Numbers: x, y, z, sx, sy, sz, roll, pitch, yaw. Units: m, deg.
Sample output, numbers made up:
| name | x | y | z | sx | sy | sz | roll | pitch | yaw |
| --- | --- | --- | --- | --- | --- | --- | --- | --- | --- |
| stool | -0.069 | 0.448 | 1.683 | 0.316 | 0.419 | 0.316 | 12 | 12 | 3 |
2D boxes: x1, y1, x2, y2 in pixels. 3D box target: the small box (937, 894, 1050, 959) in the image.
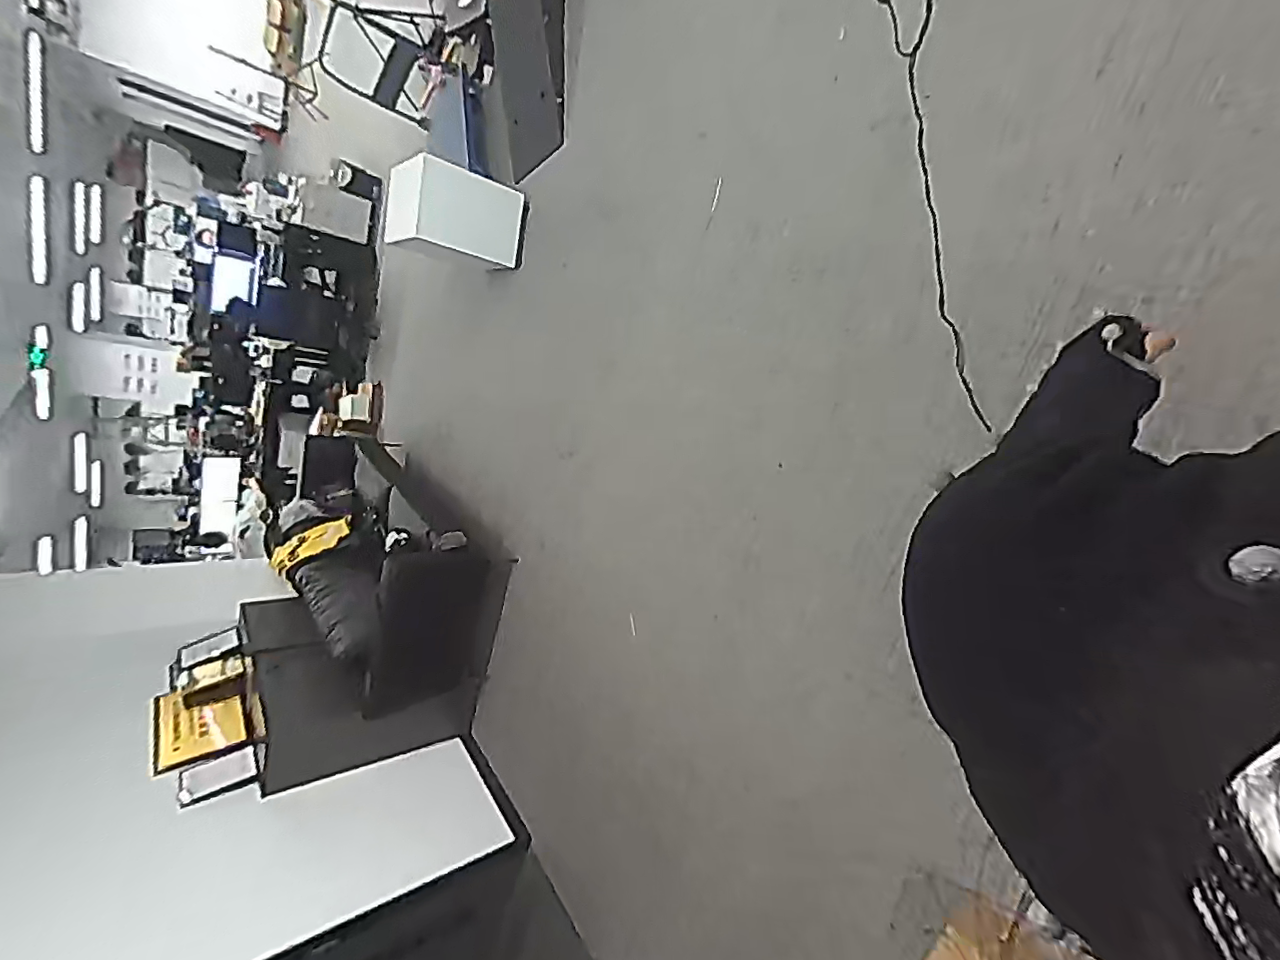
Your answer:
| name | x | y | z | sx | sy | sz | roll | pitch | yaw |
| --- | --- | --- | --- | --- | --- | --- | --- | --- | --- |
| small box | 0.815 | 1.121 | 1.251 | 0.168 | 0.176 | 0.179 | 33 | 113 | 45 |
